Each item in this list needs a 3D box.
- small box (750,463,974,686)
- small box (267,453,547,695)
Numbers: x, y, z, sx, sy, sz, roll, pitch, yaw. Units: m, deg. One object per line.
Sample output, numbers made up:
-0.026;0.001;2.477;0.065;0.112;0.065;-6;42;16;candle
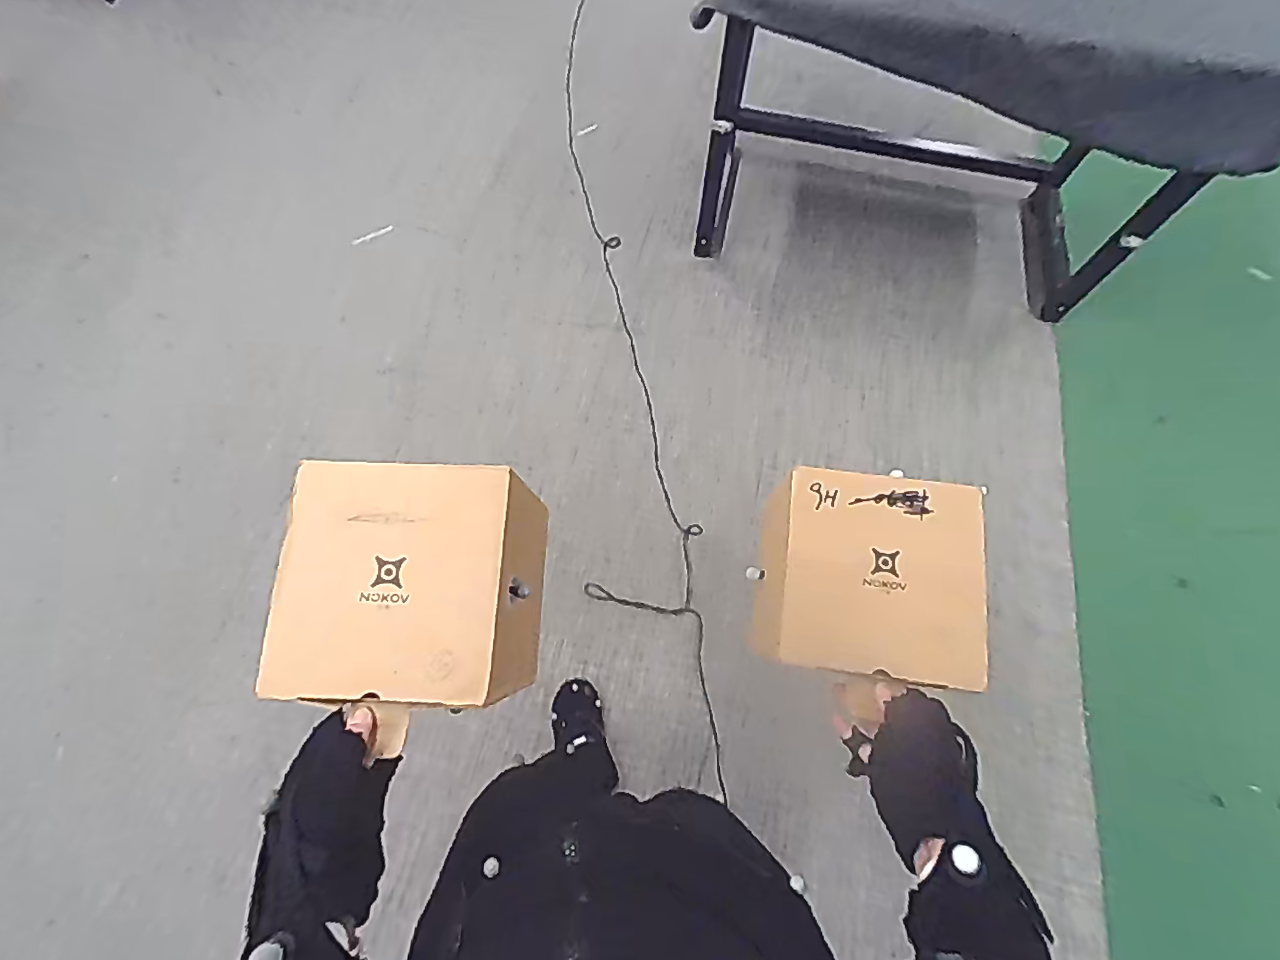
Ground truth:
0.210;0.097;0.548;0.168;0.176;0.179;7;75;5;small box
-0.181;0.085;0.481;0.168;0.176;0.179;2;75;0;small box
